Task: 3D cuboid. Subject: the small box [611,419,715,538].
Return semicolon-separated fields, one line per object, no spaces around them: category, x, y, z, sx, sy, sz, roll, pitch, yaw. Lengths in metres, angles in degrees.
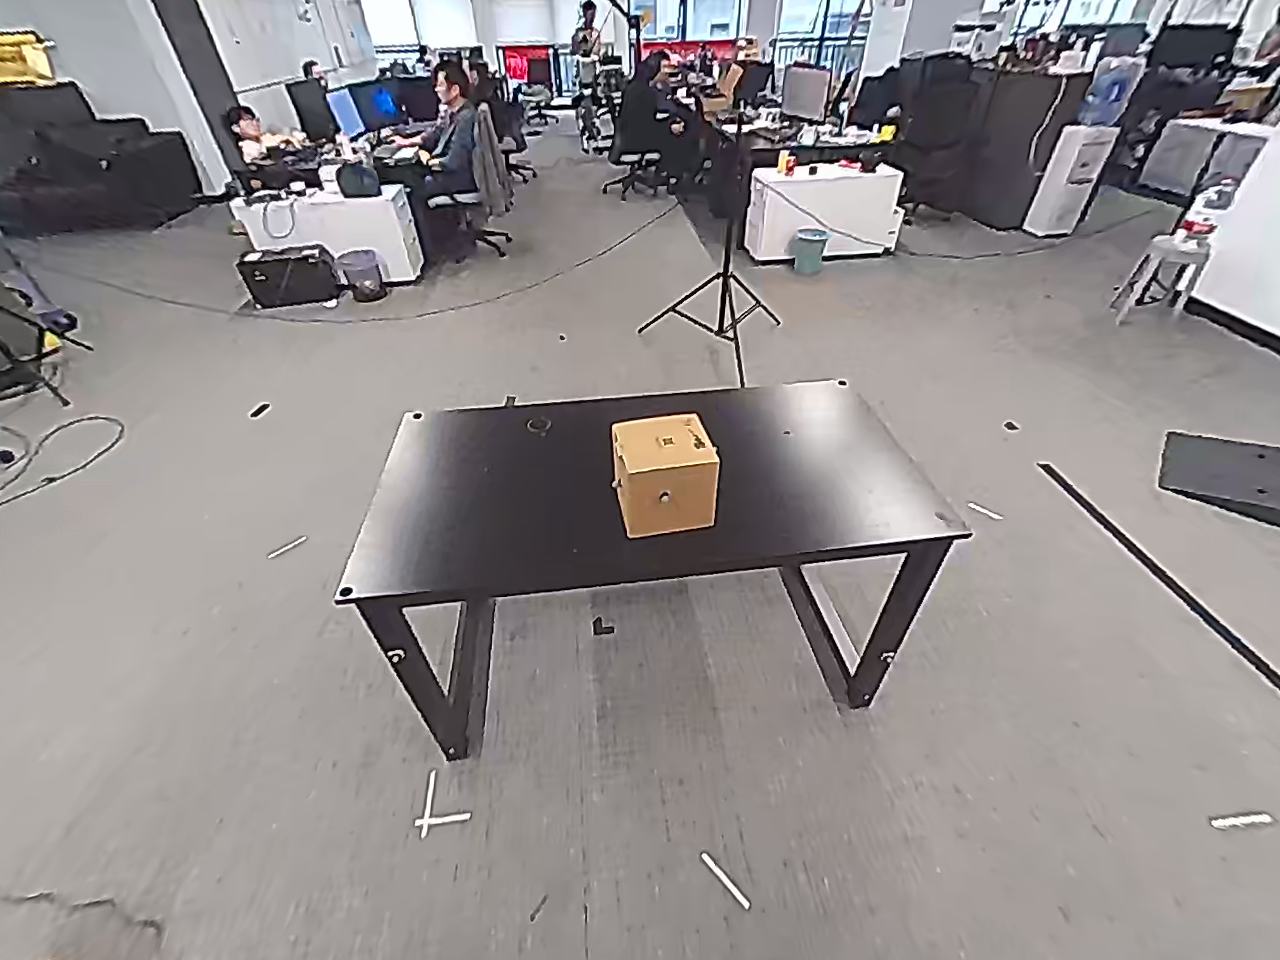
small box;0.045;0.000;1.092;0.179;0.176;0.168;-9;40;-7
